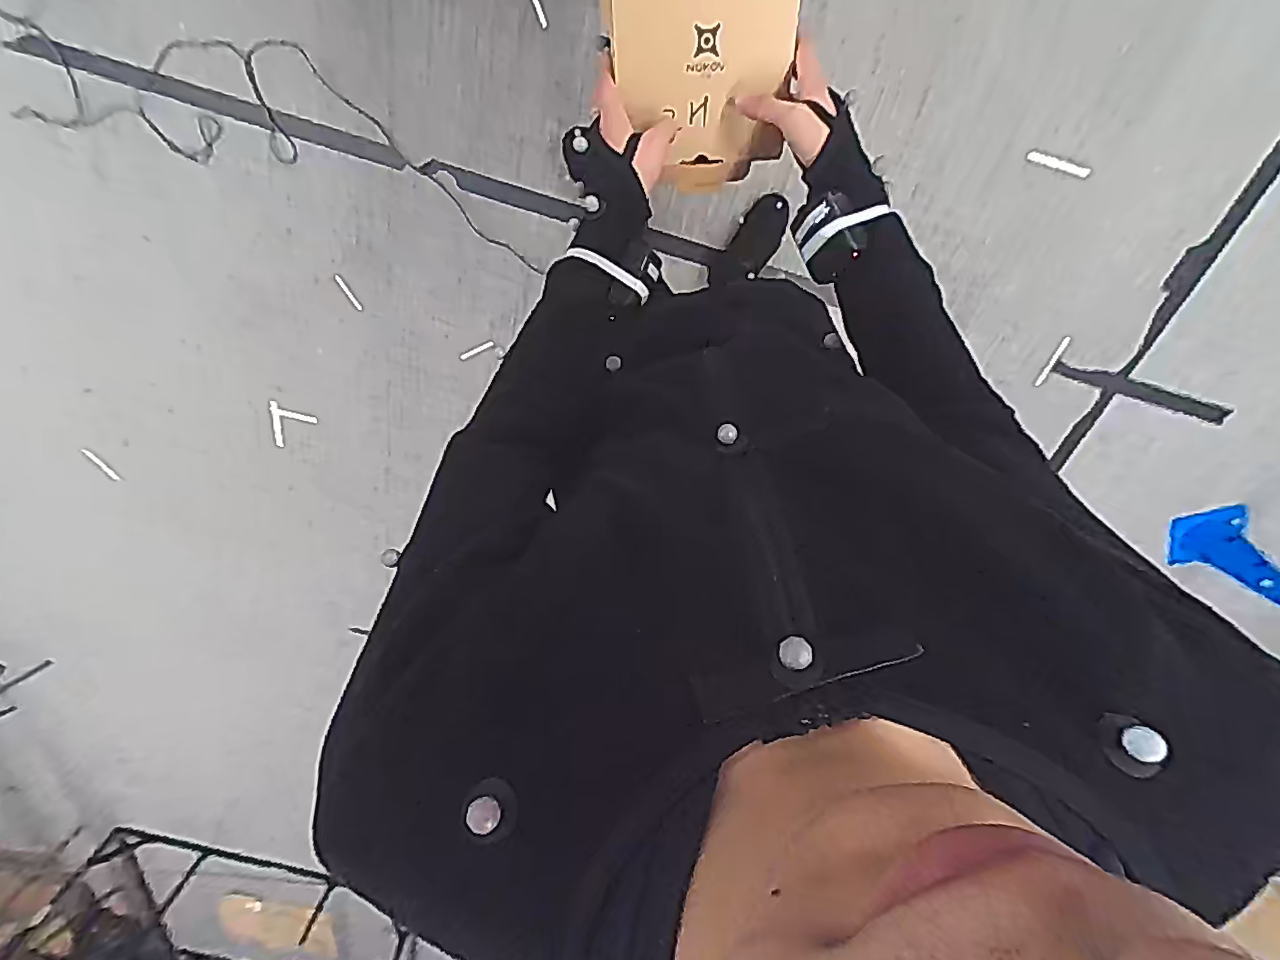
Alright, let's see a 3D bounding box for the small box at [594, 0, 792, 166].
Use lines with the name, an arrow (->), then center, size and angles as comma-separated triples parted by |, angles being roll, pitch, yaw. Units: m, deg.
small box -> 0.042, -0.431, 0.546 | 0.168, 0.176, 0.179 | -5, 128, -4
